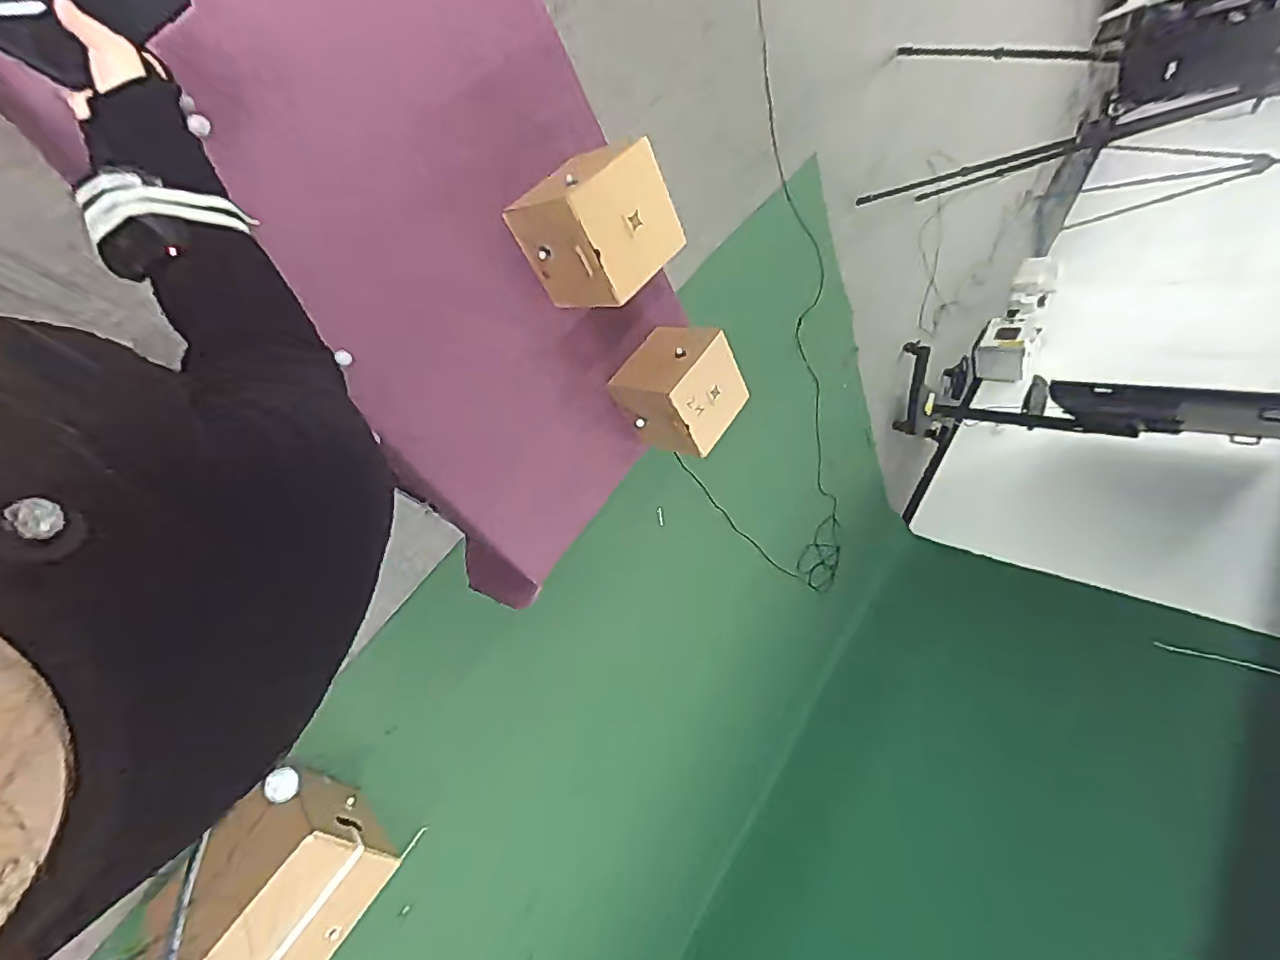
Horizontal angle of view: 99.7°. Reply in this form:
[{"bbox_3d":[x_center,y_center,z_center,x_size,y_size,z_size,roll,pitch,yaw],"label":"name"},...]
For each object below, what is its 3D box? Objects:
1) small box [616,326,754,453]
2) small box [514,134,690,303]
[{"bbox_3d":[0.086,-0.181,1.043,0.179,0.176,0.168,-51,132,-20],"label":"small box"},{"bbox_3d":[-0.058,-0.396,0.835,0.179,0.176,0.168,-50,132,-21],"label":"small box"}]
